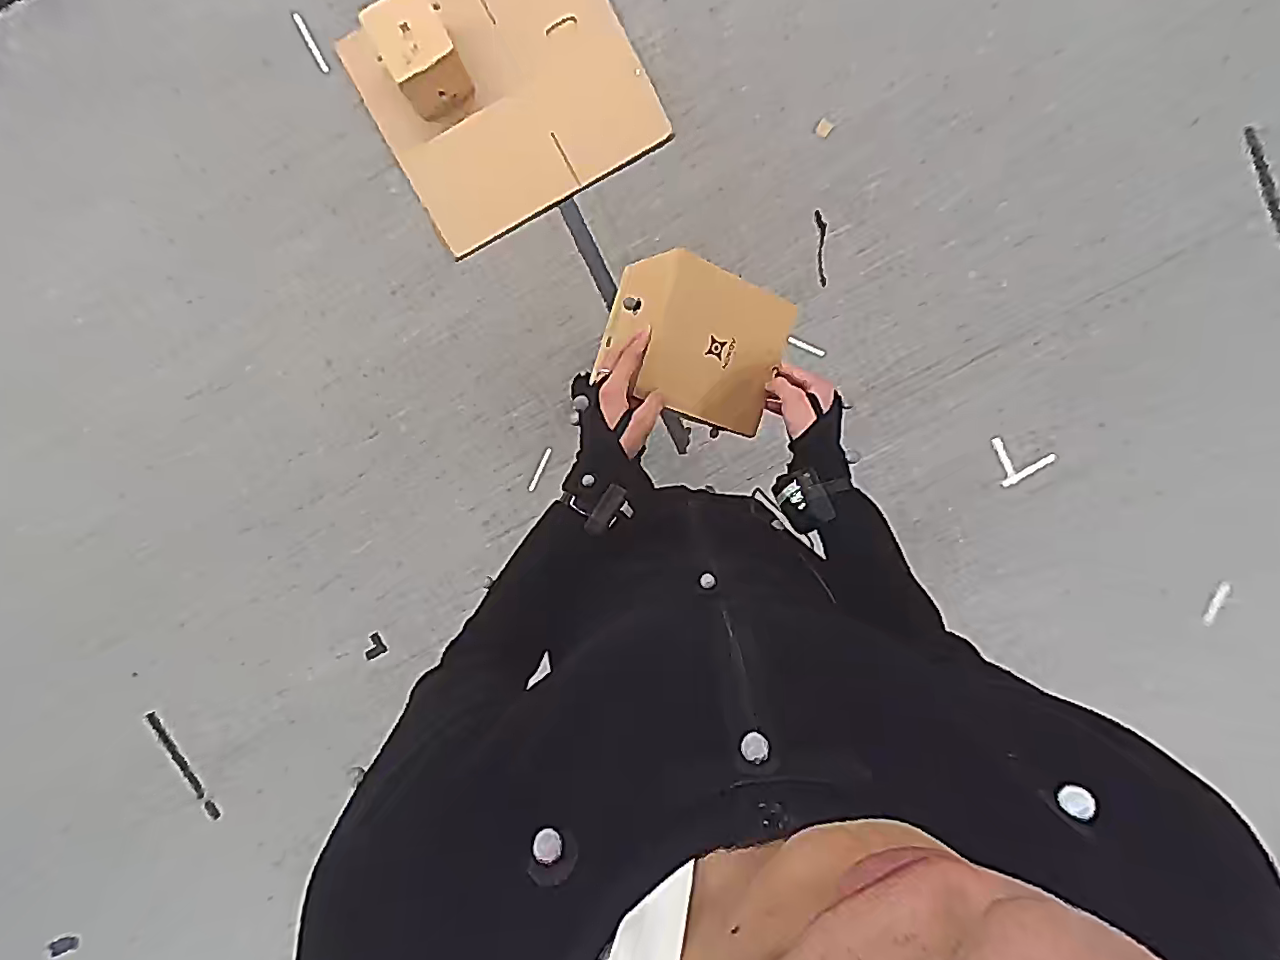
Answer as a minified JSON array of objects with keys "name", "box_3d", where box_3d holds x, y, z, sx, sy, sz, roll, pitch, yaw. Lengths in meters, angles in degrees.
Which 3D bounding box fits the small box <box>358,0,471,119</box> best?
[{"name":"small box","box_3d":[-0.550,-1.056,1.346,0.168,0.176,0.179,-29,98,3]}]

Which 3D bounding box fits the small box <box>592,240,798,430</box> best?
[{"name":"small box","box_3d":[0.057,-0.175,0.684,0.179,0.176,0.168,16,98,-26]}]

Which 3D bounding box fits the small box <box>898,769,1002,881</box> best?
[{"name":"small box","box_3d":[0.872,0.973,1.535,0.168,0.176,0.179,-26,97,1]}]
